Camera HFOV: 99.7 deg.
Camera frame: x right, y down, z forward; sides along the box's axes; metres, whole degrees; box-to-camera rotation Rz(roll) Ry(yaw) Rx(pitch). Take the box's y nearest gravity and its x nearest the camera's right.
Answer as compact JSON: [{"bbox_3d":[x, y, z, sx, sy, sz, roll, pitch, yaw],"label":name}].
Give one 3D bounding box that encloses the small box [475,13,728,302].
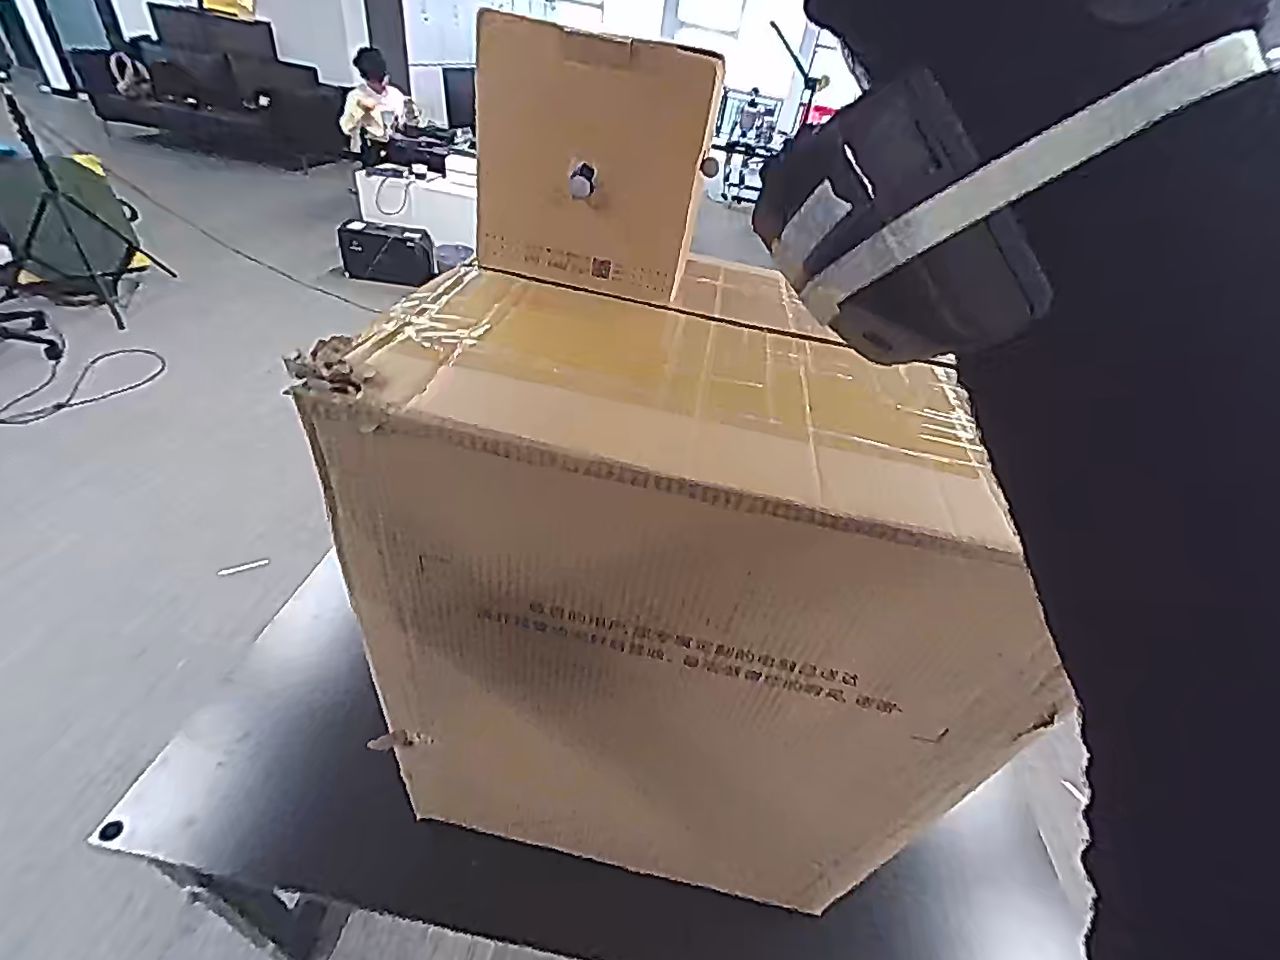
[{"bbox_3d":[-0.027,-0.268,0.461,0.168,0.176,0.179,13,37,1],"label":"small box"}]
